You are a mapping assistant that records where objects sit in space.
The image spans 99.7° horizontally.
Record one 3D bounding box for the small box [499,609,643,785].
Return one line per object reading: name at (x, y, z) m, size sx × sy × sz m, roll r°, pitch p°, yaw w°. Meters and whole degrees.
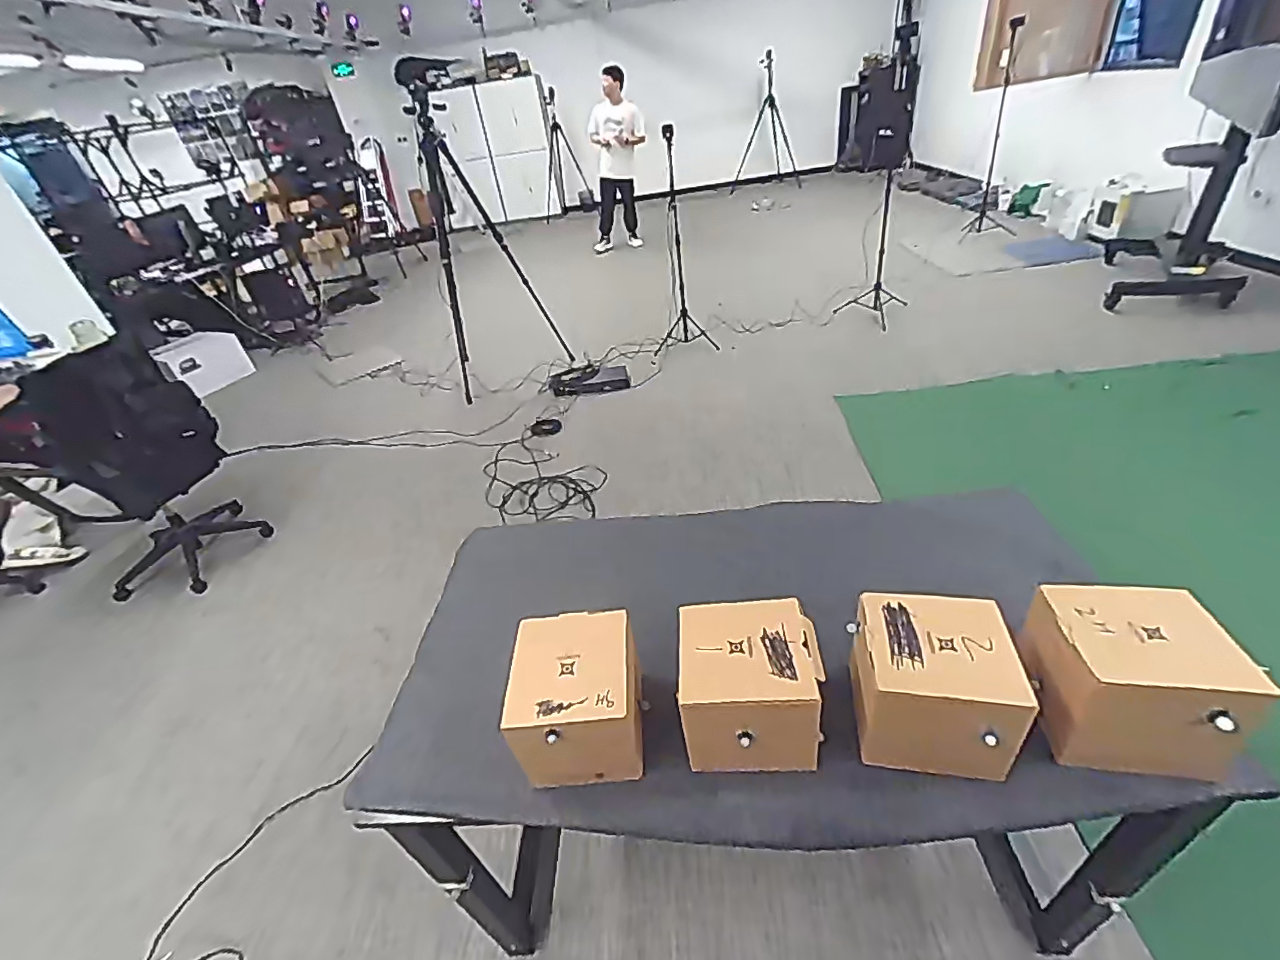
small box at (-0.090, 0.317, 0.796) m, size 0.168 × 0.176 × 0.179 m, roll -7°, pitch 36°, yaw 5°
